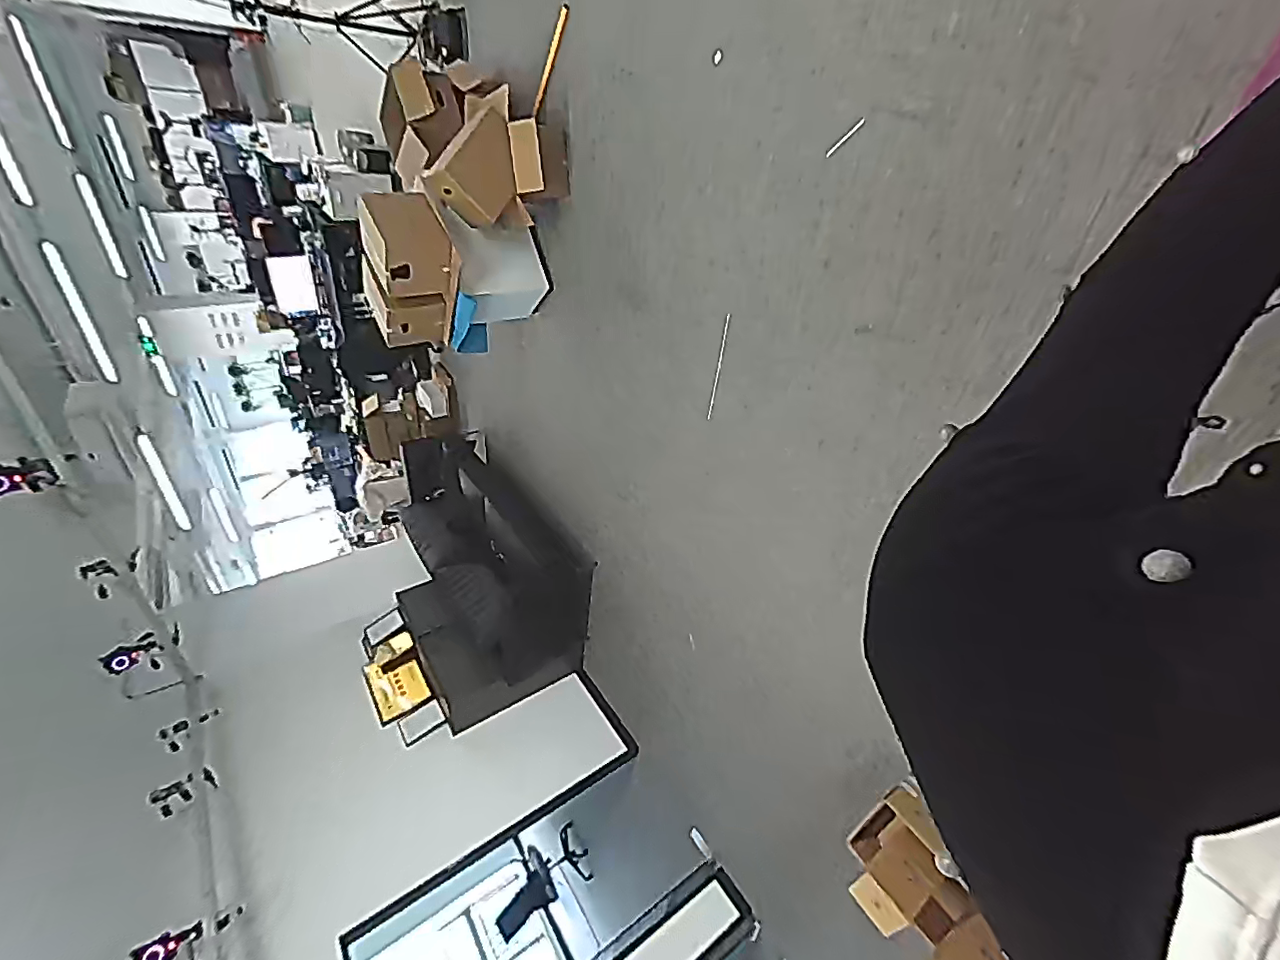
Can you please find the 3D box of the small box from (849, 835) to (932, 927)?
[{"bbox_3d":[0.858,1.369,1.851,0.168,0.176,0.179,44,138,36],"label":"small box"}]

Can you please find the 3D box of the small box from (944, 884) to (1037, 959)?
[{"bbox_3d":[1.150,1.480,1.772,0.168,0.176,0.179,44,140,36],"label":"small box"}]

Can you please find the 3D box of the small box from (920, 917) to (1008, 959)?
[{"bbox_3d":[1.019,1.523,1.685,0.168,0.176,0.179,45,139,36],"label":"small box"}]

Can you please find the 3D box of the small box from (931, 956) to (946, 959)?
[{"bbox_3d":[0.887,1.565,1.597,0.168,0.176,0.179,43,139,37],"label":"small box"}]
